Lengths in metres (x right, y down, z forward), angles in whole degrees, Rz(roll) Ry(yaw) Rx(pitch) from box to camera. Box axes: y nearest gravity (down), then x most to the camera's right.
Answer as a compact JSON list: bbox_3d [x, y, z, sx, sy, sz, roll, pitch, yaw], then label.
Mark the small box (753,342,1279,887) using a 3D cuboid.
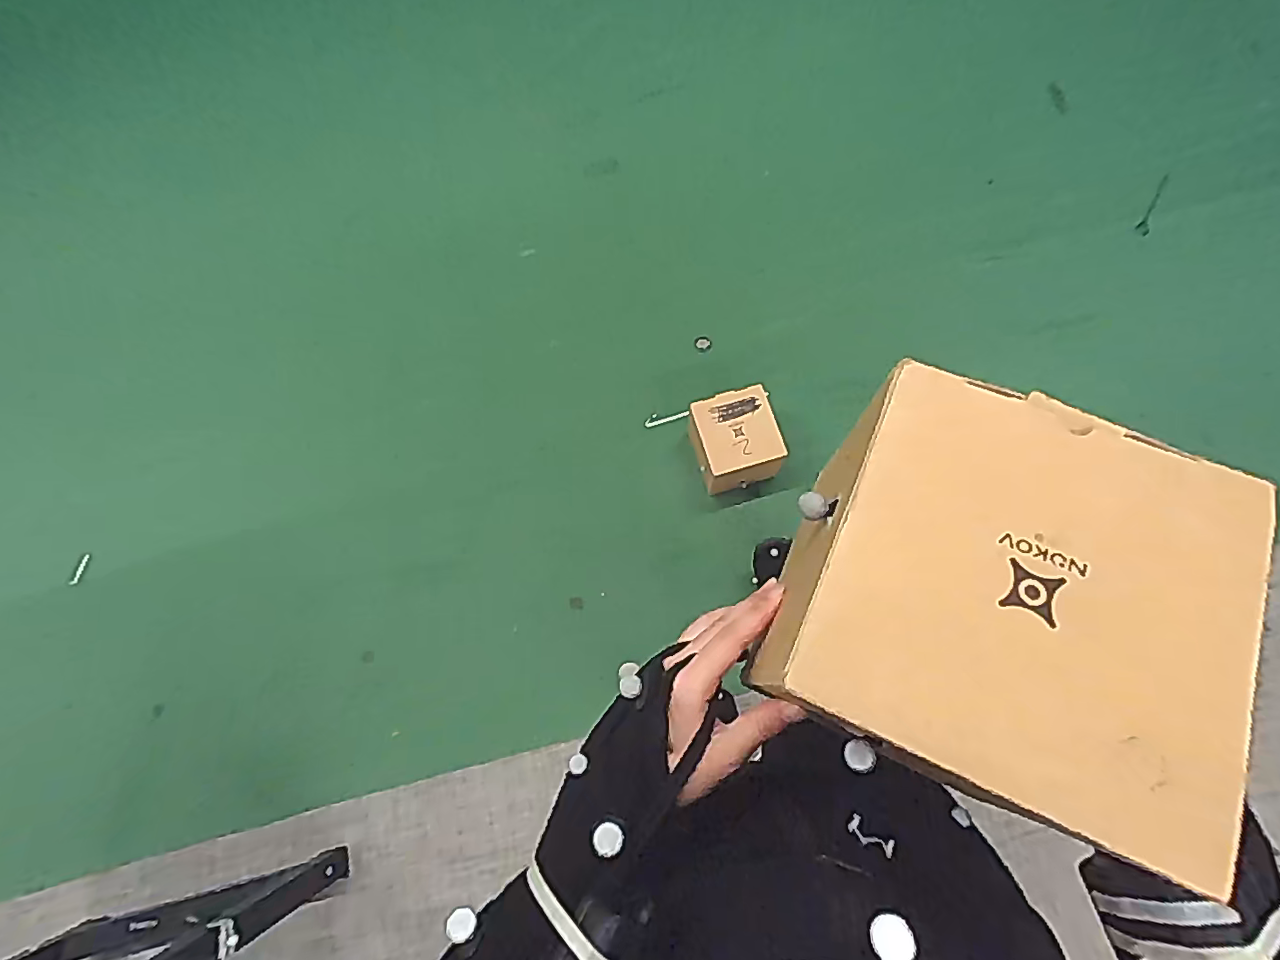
[{"bbox_3d":[0.171,0.063,0.300,0.168,0.176,0.179,23,73,12],"label":"small box"}]
